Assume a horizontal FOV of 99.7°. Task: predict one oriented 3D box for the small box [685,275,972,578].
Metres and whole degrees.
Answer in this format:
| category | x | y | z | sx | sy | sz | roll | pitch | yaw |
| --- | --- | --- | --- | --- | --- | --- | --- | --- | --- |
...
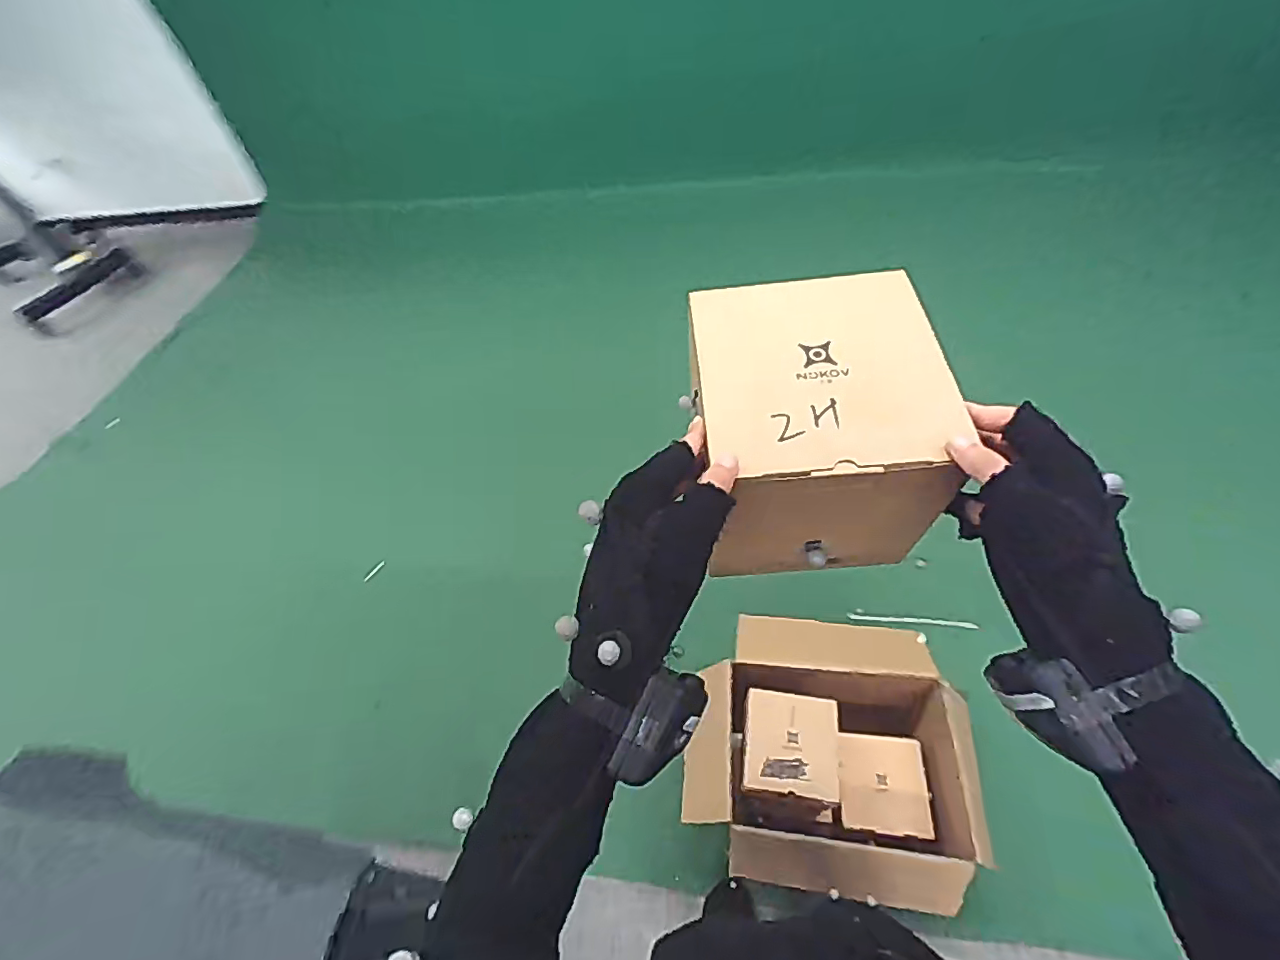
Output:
| category | x | y | z | sx | sy | sz | roll | pitch | yaw |
| --- | --- | --- | --- | --- | --- | --- | --- | --- | --- |
| small box | 0.124 | -0.036 | 0.442 | 0.168 | 0.176 | 0.179 | -5 | 59 | 3 |
